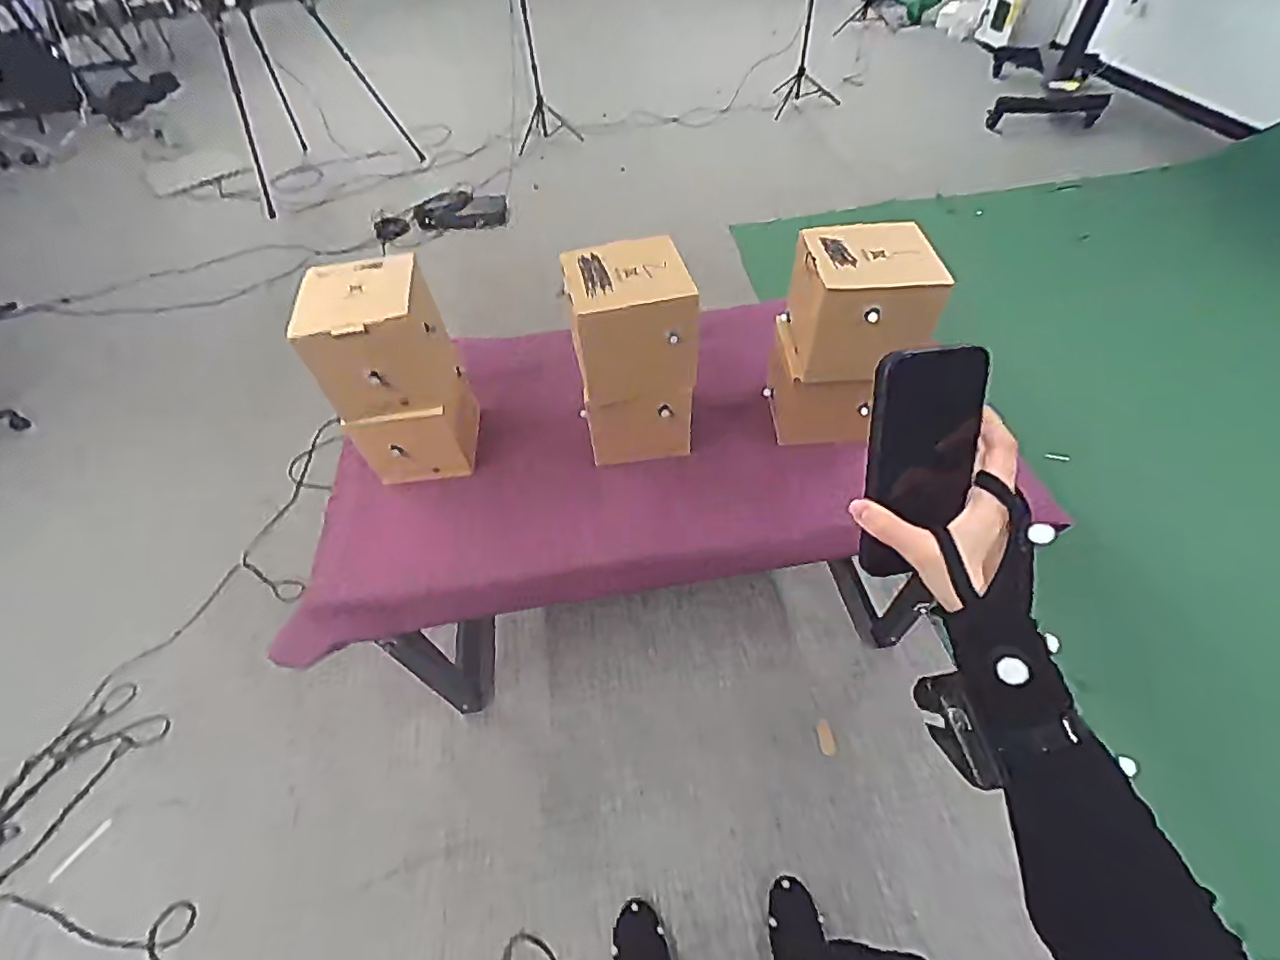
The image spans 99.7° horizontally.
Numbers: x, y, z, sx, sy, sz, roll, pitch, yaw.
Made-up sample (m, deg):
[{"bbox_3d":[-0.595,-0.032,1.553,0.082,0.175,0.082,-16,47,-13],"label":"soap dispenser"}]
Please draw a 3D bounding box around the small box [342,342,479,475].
[{"bbox_3d":[-0.400,-0.121,0.977,0.168,0.176,0.179,-6,53,-1],"label":"small box"}]

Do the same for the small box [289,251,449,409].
[{"bbox_3d":[-0.409,-0.227,0.851,0.168,0.176,0.179,-10,53,-5],"label":"small box"}]

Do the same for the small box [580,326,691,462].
[{"bbox_3d":[-0.009,-0.150,0.972,0.179,0.176,0.168,-7,53,-1],"label":"small box"}]

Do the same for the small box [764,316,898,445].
[{"bbox_3d":[0.330,-0.177,0.972,0.179,0.176,0.168,-2,52,3],"label":"small box"}]

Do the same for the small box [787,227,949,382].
[{"bbox_3d":[0.332,-0.265,0.833,0.179,0.176,0.168,-2,52,2],"label":"small box"}]
